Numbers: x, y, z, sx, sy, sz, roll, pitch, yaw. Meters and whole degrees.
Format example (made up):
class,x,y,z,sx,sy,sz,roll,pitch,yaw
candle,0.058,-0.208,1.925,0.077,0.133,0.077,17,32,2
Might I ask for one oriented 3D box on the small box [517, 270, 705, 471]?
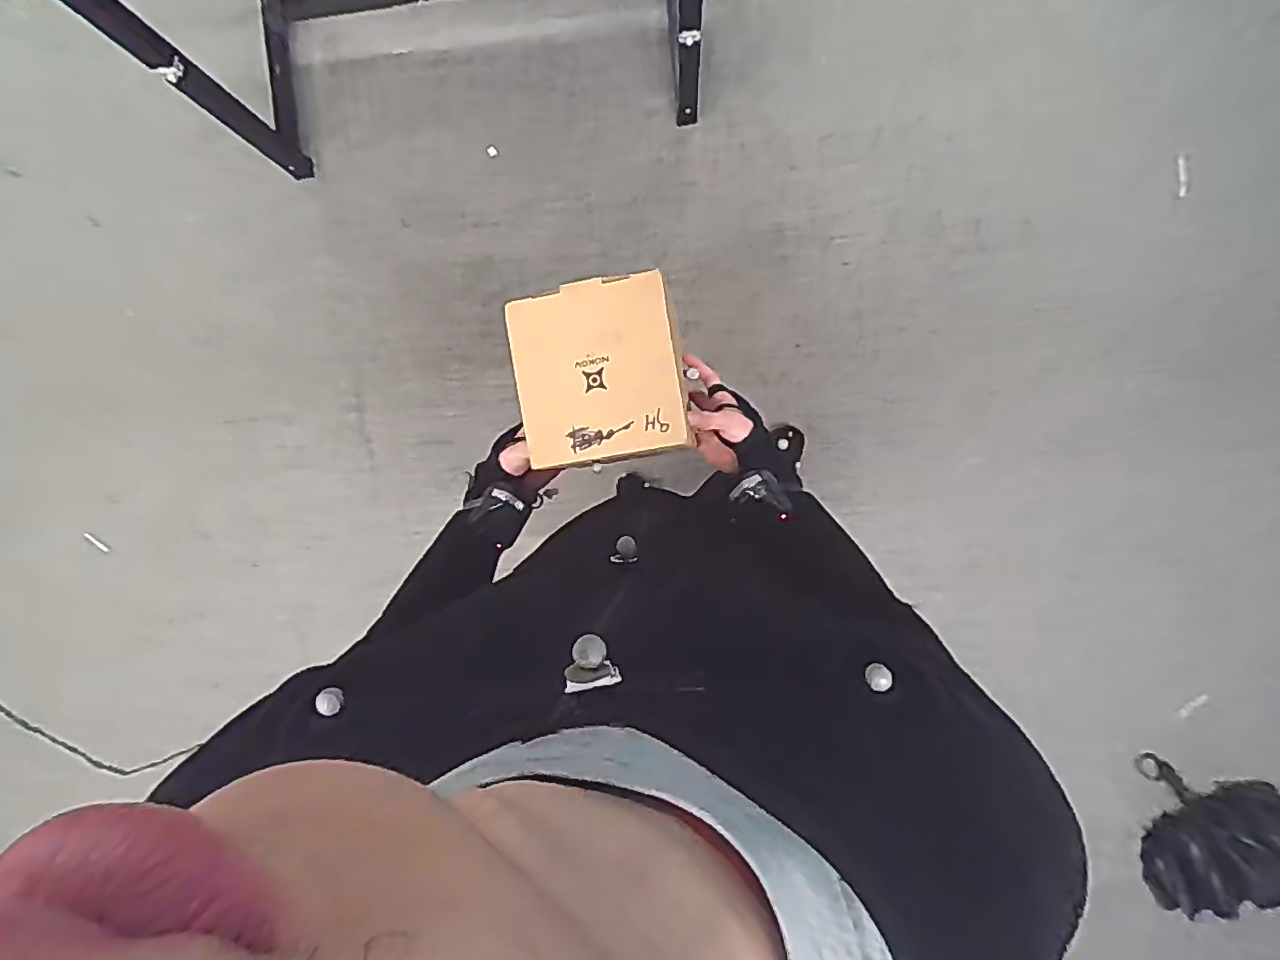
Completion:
class,x,y,z,sx,sy,sz,roll,pitch,yaw
small box,-0.022,-0.109,0.618,0.168,0.176,0.179,-10,89,10
